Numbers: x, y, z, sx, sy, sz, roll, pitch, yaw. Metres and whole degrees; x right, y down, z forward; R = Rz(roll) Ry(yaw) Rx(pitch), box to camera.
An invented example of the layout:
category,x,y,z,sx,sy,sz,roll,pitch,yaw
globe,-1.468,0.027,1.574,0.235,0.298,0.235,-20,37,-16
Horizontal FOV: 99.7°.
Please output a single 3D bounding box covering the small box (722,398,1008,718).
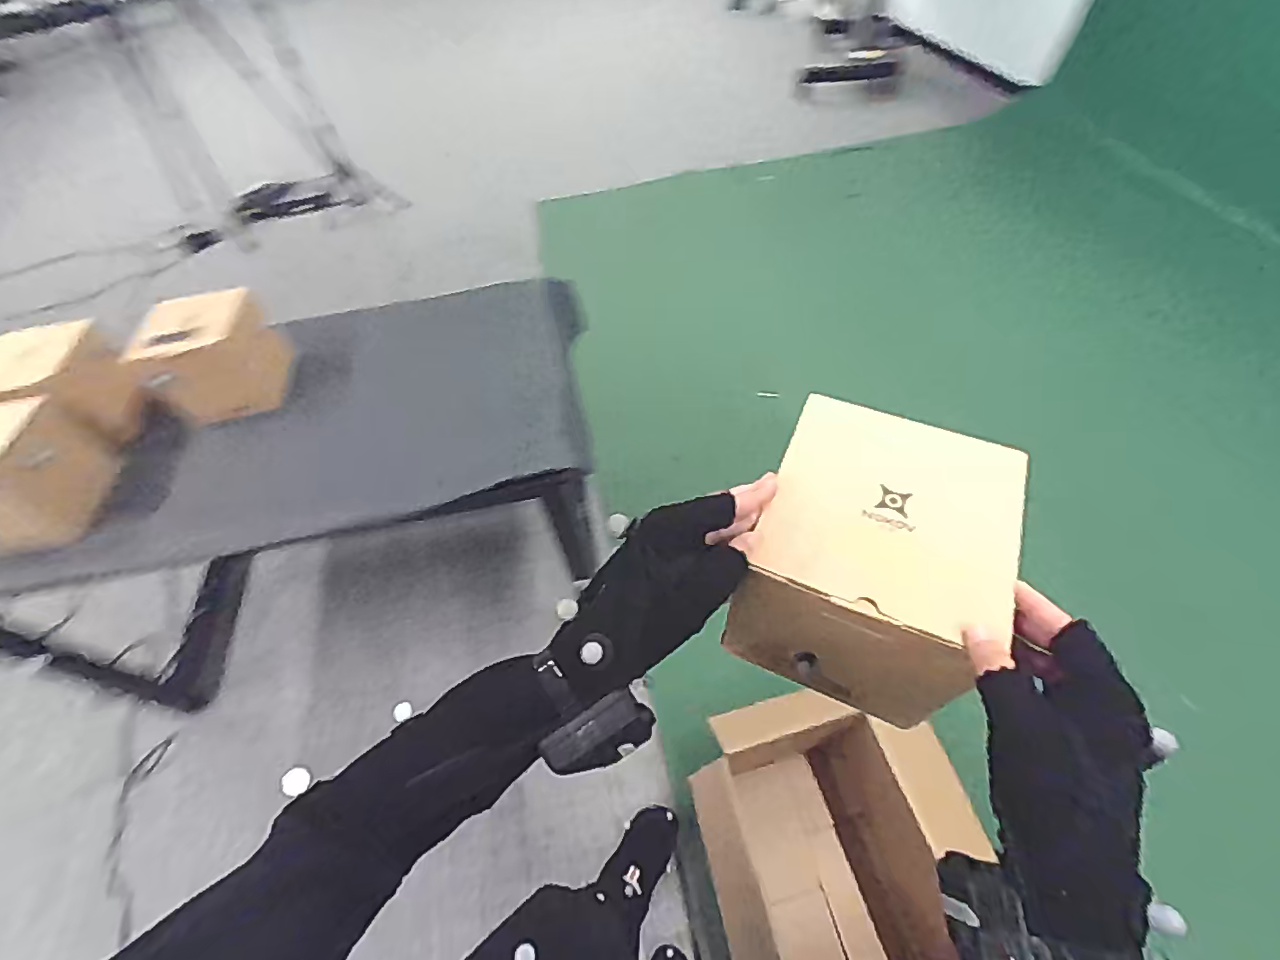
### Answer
category,x,y,z,sx,sy,sz,roll,pitch,yaw
small box,0.173,0.067,0.451,0.168,0.176,0.179,18,57,16
